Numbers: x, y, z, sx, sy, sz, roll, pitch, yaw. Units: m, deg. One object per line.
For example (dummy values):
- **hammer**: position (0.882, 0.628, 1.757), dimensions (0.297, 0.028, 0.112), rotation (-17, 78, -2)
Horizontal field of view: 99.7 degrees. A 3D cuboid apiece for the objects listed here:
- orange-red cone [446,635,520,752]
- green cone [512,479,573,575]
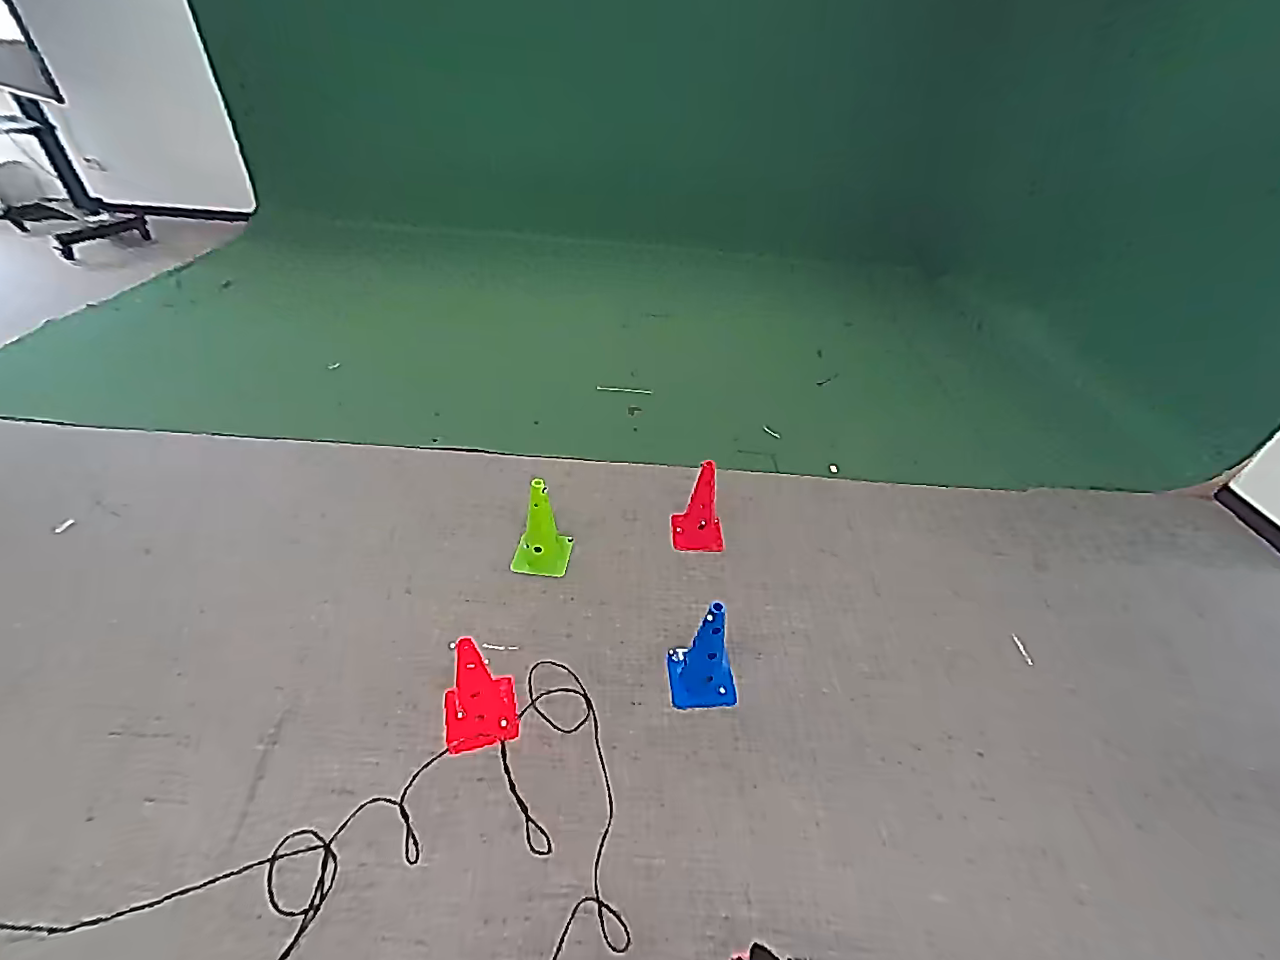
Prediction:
- **orange-red cone**: position (-0.438, 0.532, 1.439), dimensions (0.198, 0.360, 0.199), rotation (-7, 39, -16)
- **green cone**: position (-0.355, 0.141, 1.915), dimensions (0.200, 0.368, 0.202), rotation (5, 41, 1)
